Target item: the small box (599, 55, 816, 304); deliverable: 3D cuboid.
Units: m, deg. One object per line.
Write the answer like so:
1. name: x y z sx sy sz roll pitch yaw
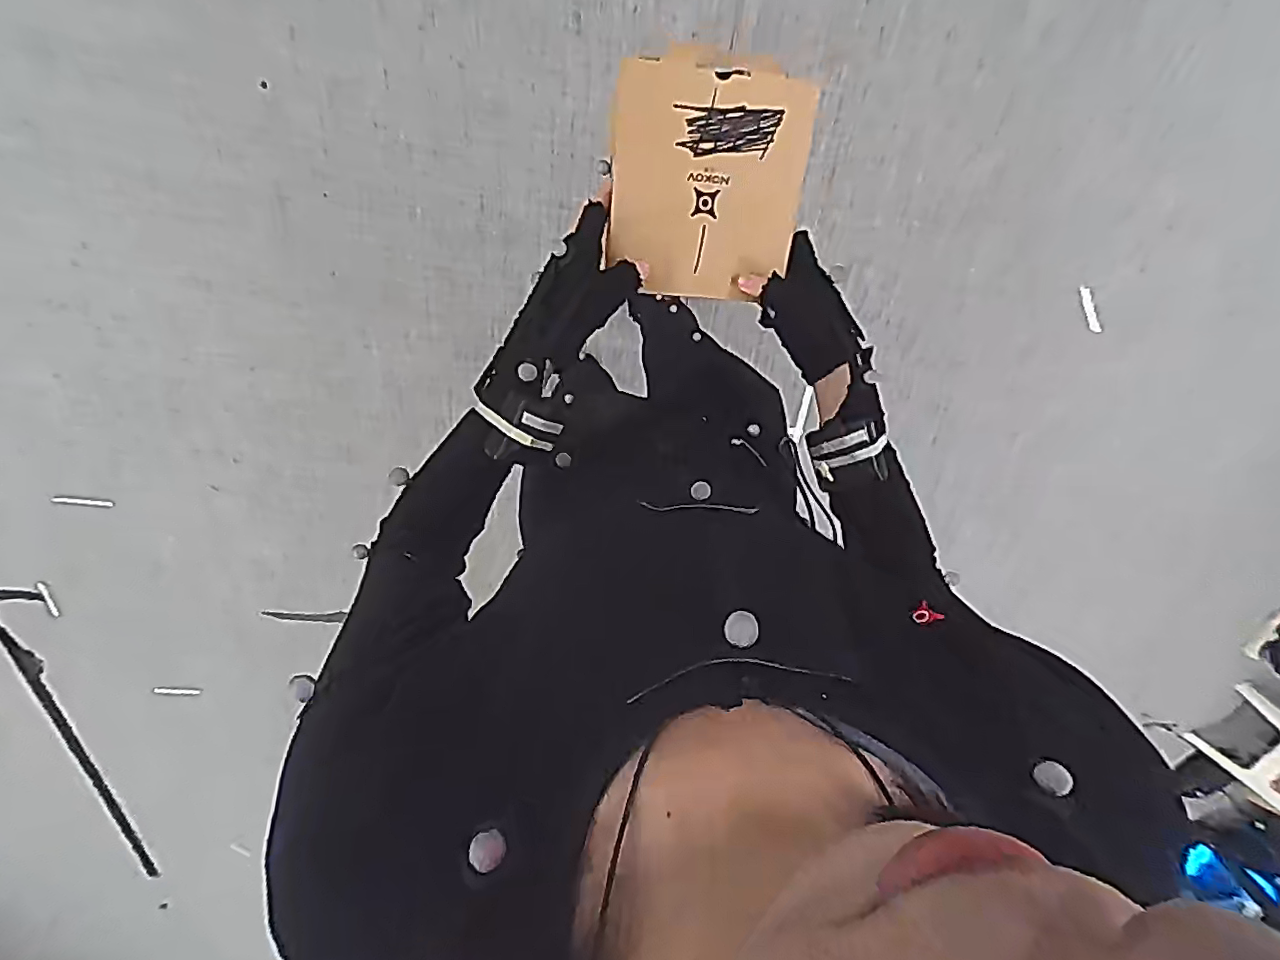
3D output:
1. small box: 0.049 -0.284 0.540 0.168 0.176 0.179 3 116 -8
